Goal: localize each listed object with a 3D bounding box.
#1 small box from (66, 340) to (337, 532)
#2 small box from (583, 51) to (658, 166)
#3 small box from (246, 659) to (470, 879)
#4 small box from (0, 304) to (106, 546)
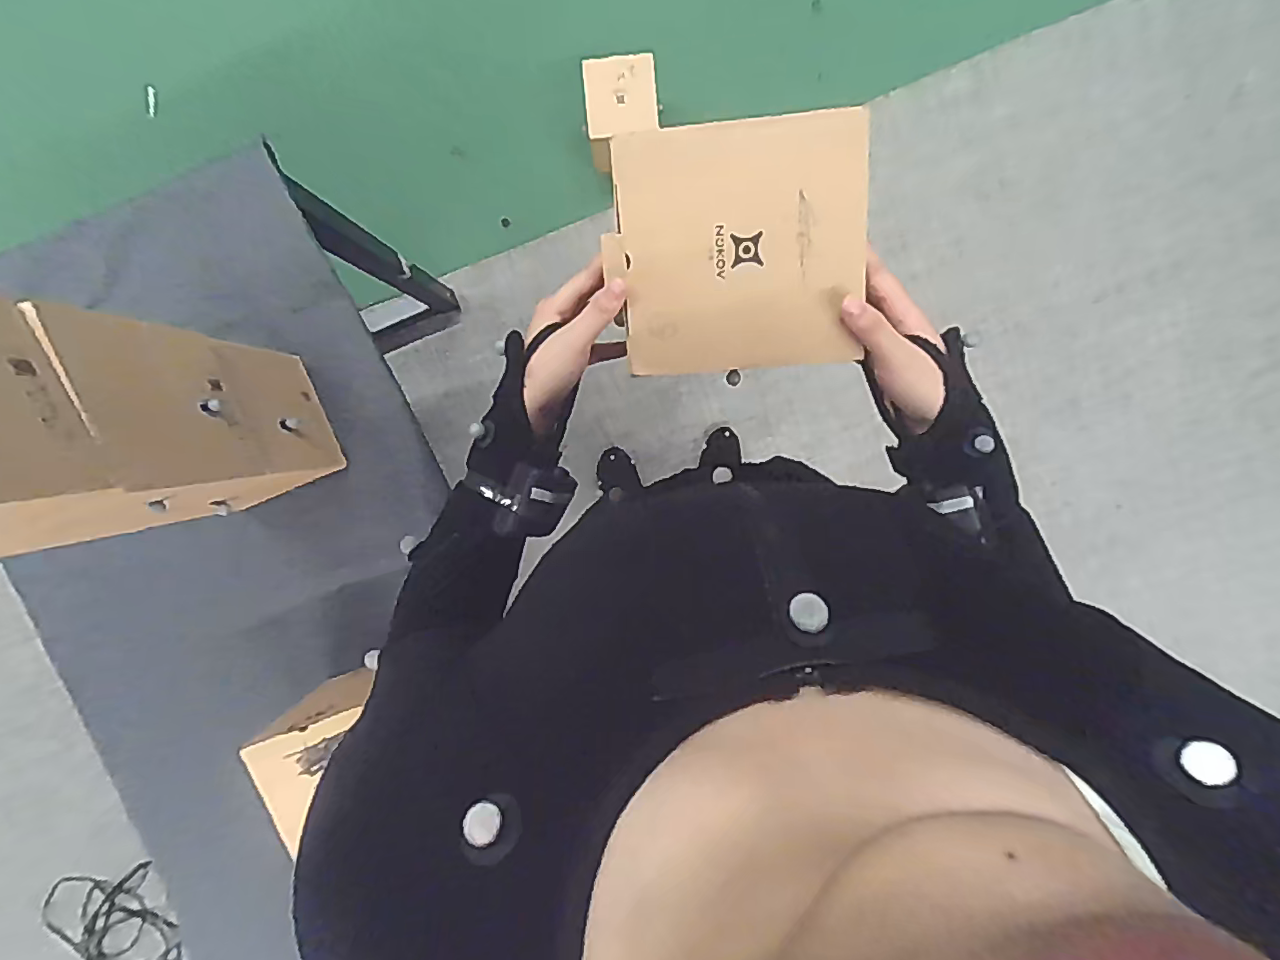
[{"bbox_3d":[-0.513,-0.056,0.667,0.179,0.176,0.168,-21,95,4],"label":"small box"},{"bbox_3d":[-0.043,-0.887,1.310,0.168,0.176,0.179,-5,95,0],"label":"small box"},{"bbox_3d":[-0.350,0.357,0.707,0.168,0.176,0.179,-20,96,4],"label":"small box"},{"bbox_3d":[-0.520,-0.019,0.341,0.179,0.176,0.168,-25,96,5],"label":"small box"}]
